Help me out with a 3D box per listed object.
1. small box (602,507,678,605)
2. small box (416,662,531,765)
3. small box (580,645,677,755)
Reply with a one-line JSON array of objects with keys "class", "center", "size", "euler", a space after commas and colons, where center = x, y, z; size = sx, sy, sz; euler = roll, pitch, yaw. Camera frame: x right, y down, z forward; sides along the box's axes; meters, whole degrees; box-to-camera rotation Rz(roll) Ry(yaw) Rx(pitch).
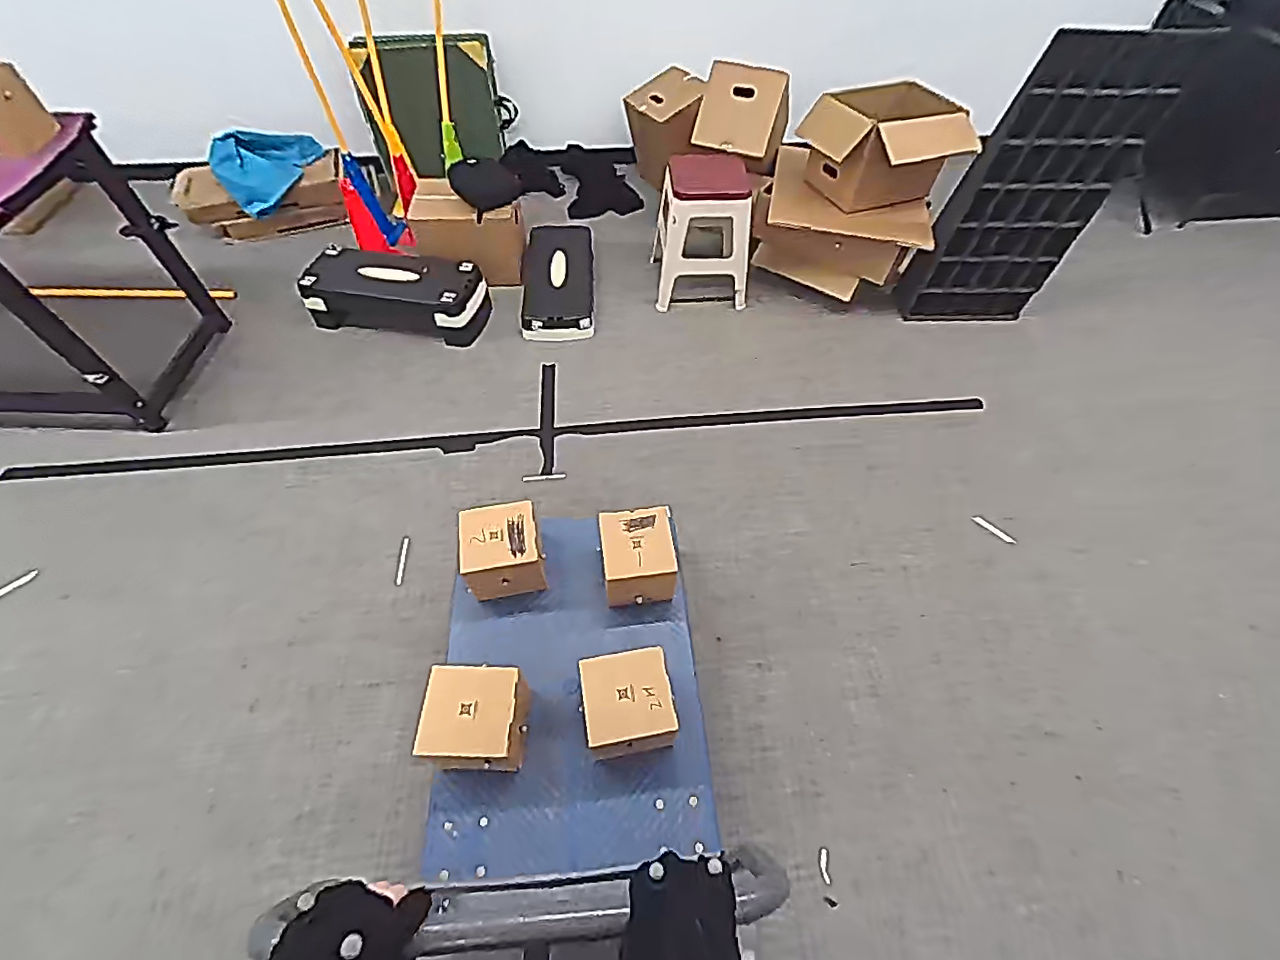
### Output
[{"class": "small box", "center": [-0.006, 0.187, 1.328], "size": [0.168, 0.176, 0.179], "euler": [-6, 57, -5]}, {"class": "small box", "center": [-0.331, 0.485, 1.116], "size": [0.179, 0.176, 0.168], "euler": [2, 55, -2]}, {"class": "small box", "center": [-0.026, 0.465, 1.136], "size": [0.179, 0.176, 0.168], "euler": [-8, 56, -7]}]
